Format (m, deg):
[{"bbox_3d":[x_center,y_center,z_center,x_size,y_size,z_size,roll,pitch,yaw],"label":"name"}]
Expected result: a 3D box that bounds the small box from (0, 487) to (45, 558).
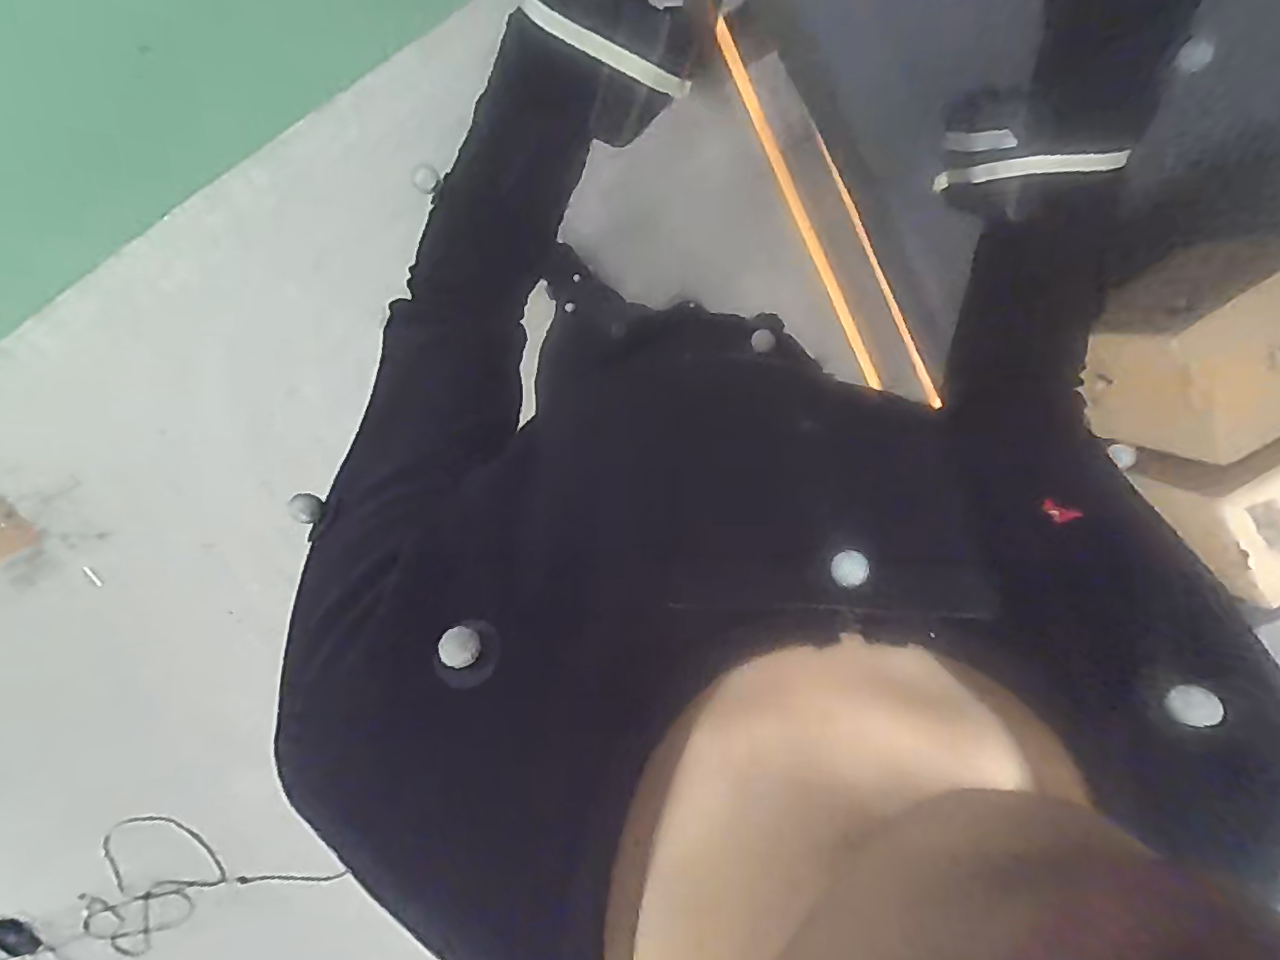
[{"bbox_3d":[-1.837,0.141,1.491,0.179,0.176,0.168,-27,105,8],"label":"small box"}]
